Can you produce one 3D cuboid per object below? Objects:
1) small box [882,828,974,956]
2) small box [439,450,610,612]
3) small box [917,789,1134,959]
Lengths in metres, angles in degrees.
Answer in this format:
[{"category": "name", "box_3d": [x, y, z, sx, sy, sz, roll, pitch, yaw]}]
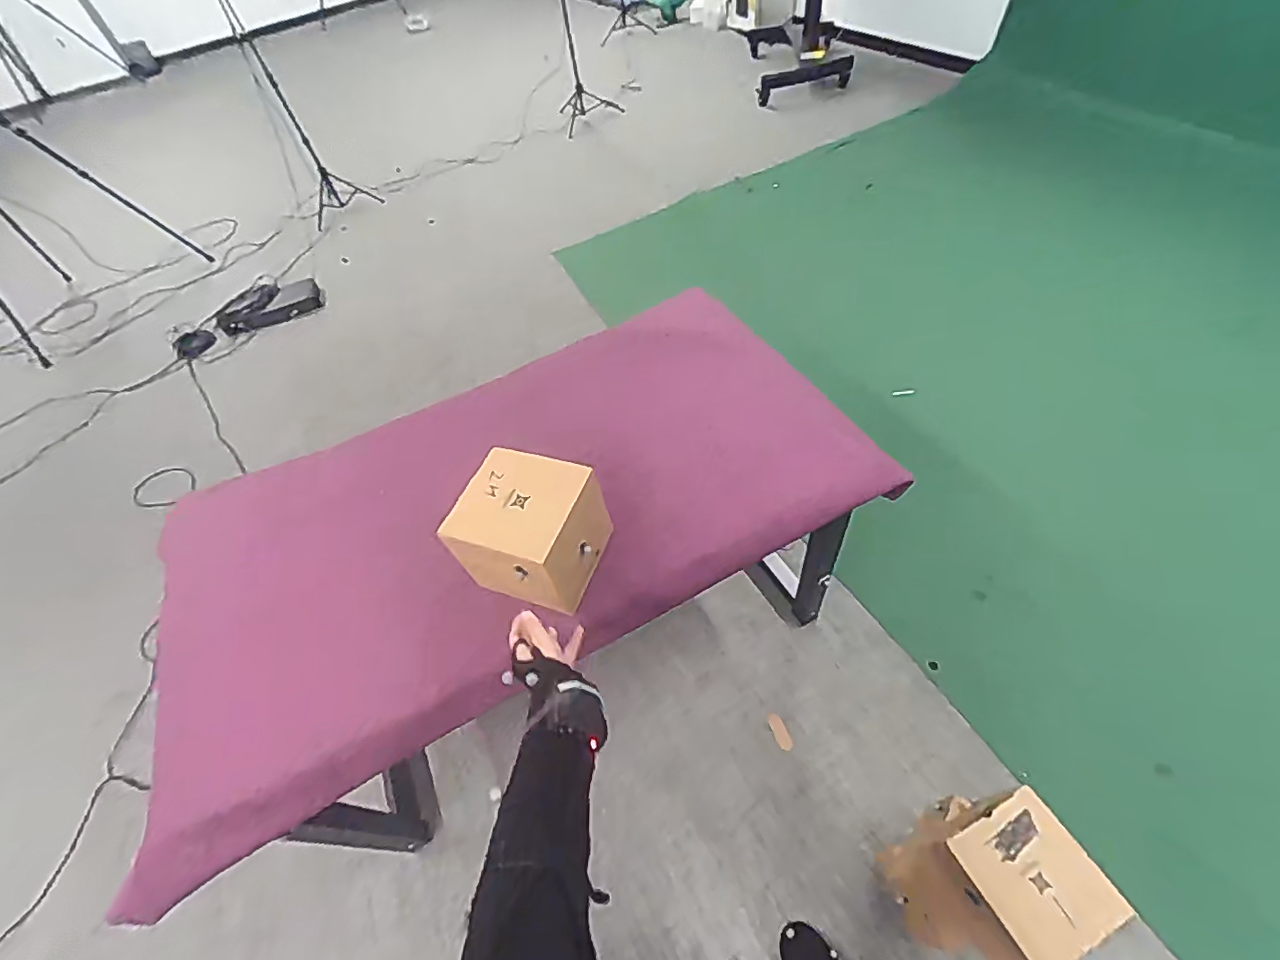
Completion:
[{"category": "small box", "box_3d": [0.608, 0.811, 1.079, 0.179, 0.176, 0.168, -19, 53, -5]}, {"category": "small box", "box_3d": [-0.162, 0.082, 0.830, 0.179, 0.176, 0.168, 13, 55, 19]}, {"category": "small box", "box_3d": [0.563, 0.609, 0.823, 0.168, 0.176, 0.179, -25, 55, -11]}]
